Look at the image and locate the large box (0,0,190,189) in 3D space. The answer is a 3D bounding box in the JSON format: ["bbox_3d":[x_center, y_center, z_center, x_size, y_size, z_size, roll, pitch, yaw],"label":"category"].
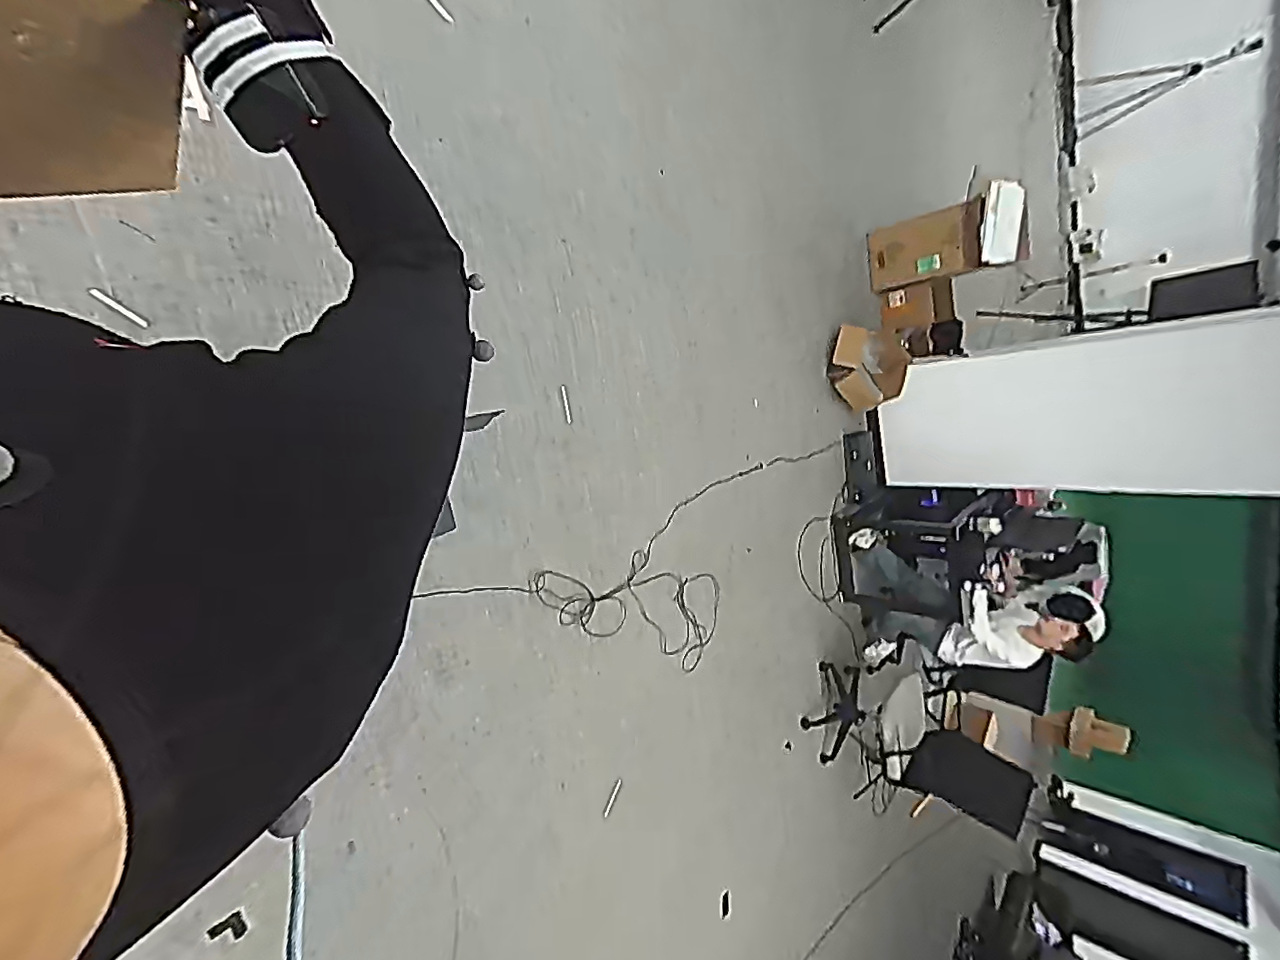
[{"bbox_3d":[-0.544,-0.356,0.270,0.408,0.320,0.320,-30,112,-38],"label":"large box"}]
